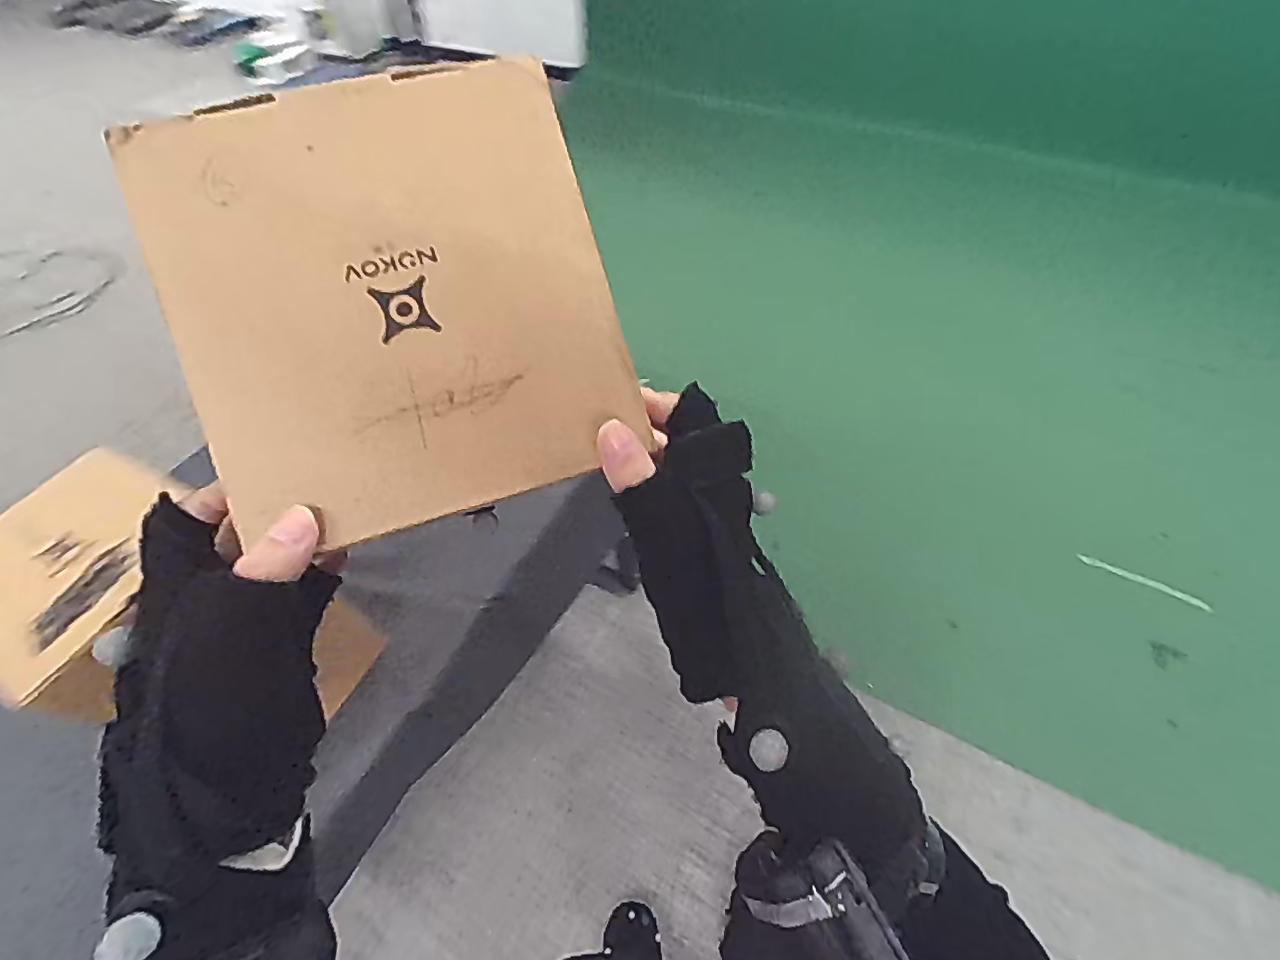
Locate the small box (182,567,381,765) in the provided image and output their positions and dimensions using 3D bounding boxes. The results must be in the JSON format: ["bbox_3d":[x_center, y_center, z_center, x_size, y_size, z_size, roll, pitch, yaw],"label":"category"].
[{"bbox_3d":[-0.442,0.203,0.626,0.168,0.176,0.179,15,55,16],"label":"small box"}]

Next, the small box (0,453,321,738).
[{"bbox_3d":[-0.440,0.109,0.487,0.179,0.176,0.168,19,57,18],"label":"small box"}]
